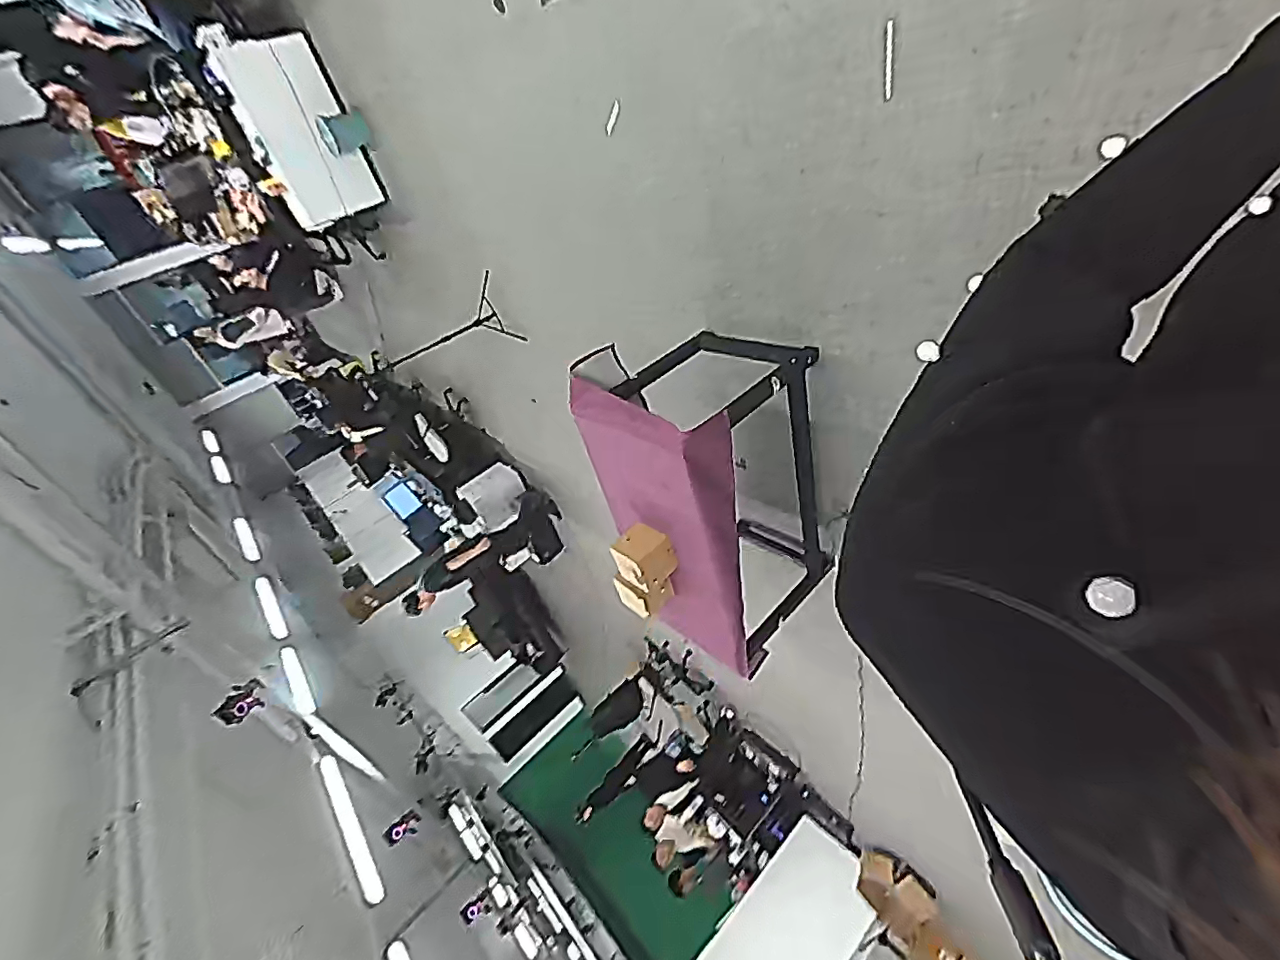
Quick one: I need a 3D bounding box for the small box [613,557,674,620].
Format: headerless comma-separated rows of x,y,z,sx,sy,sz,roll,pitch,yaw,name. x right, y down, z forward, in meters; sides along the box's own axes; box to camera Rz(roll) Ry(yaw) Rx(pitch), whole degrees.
0.017,0.452,2.300,0.179,0.176,0.168,23,143,45,small box
